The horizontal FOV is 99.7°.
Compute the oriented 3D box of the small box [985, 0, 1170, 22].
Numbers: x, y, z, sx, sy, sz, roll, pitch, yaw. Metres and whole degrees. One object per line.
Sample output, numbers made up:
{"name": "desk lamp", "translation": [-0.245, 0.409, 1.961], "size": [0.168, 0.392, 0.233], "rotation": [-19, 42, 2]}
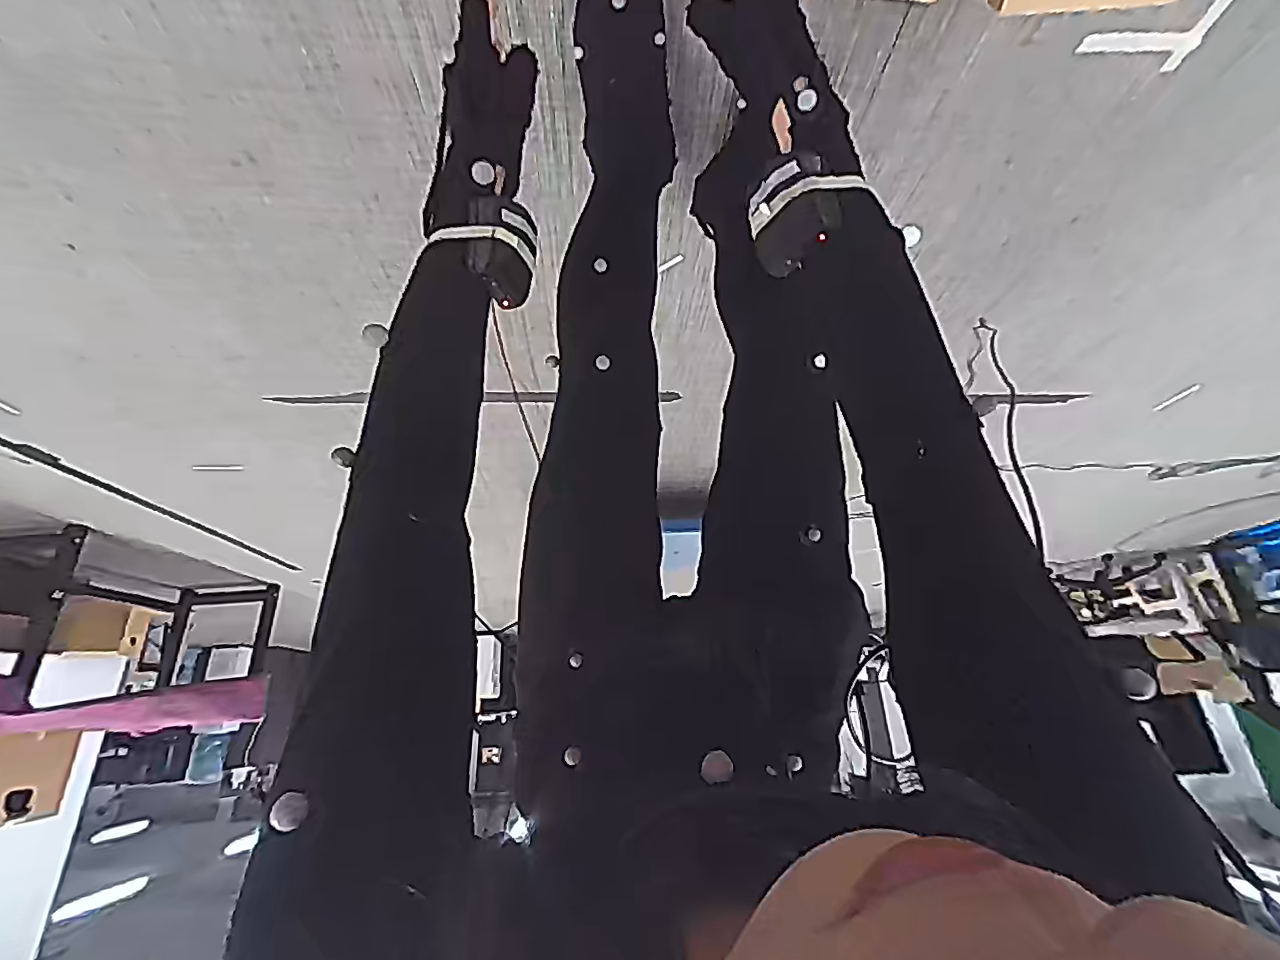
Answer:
{"name": "small box", "translation": [0.415, -0.556, 0.485], "size": [0.179, 0.176, 0.168], "rotation": [-4, 157, 0]}
